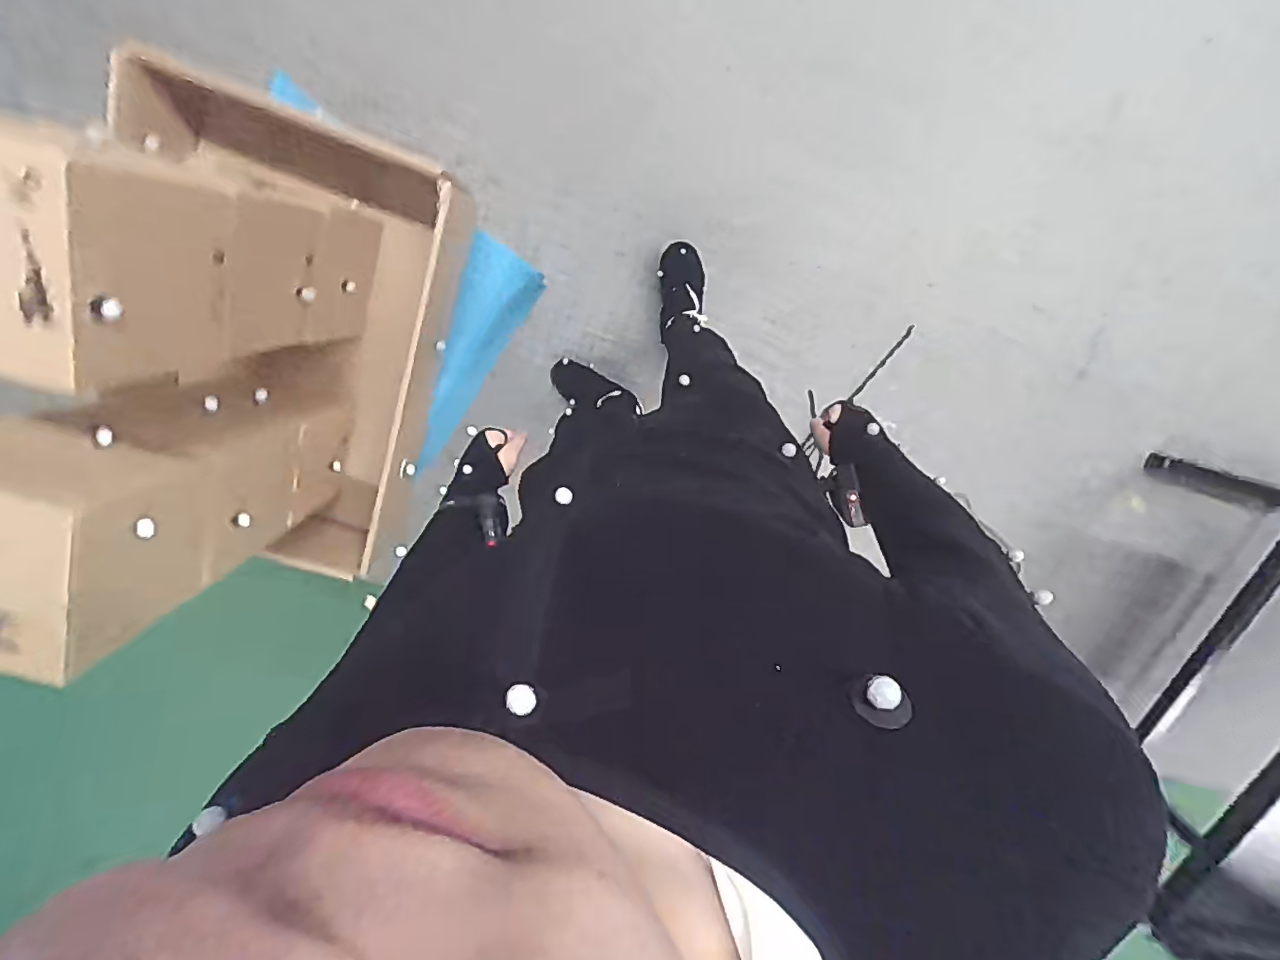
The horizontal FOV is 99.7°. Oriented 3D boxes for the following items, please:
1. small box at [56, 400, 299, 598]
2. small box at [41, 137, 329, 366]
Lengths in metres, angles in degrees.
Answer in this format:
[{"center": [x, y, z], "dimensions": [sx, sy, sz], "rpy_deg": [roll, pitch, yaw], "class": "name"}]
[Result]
[{"center": [-0.560, 0.014, 0.676], "dimensions": [0.168, 0.176, 0.179], "rpy_deg": [16, 106, -8], "class": "small box"}, {"center": [-0.483, -0.239, 0.595], "dimensions": [0.179, 0.176, 0.168], "rpy_deg": [16, 109, -8], "class": "small box"}]
